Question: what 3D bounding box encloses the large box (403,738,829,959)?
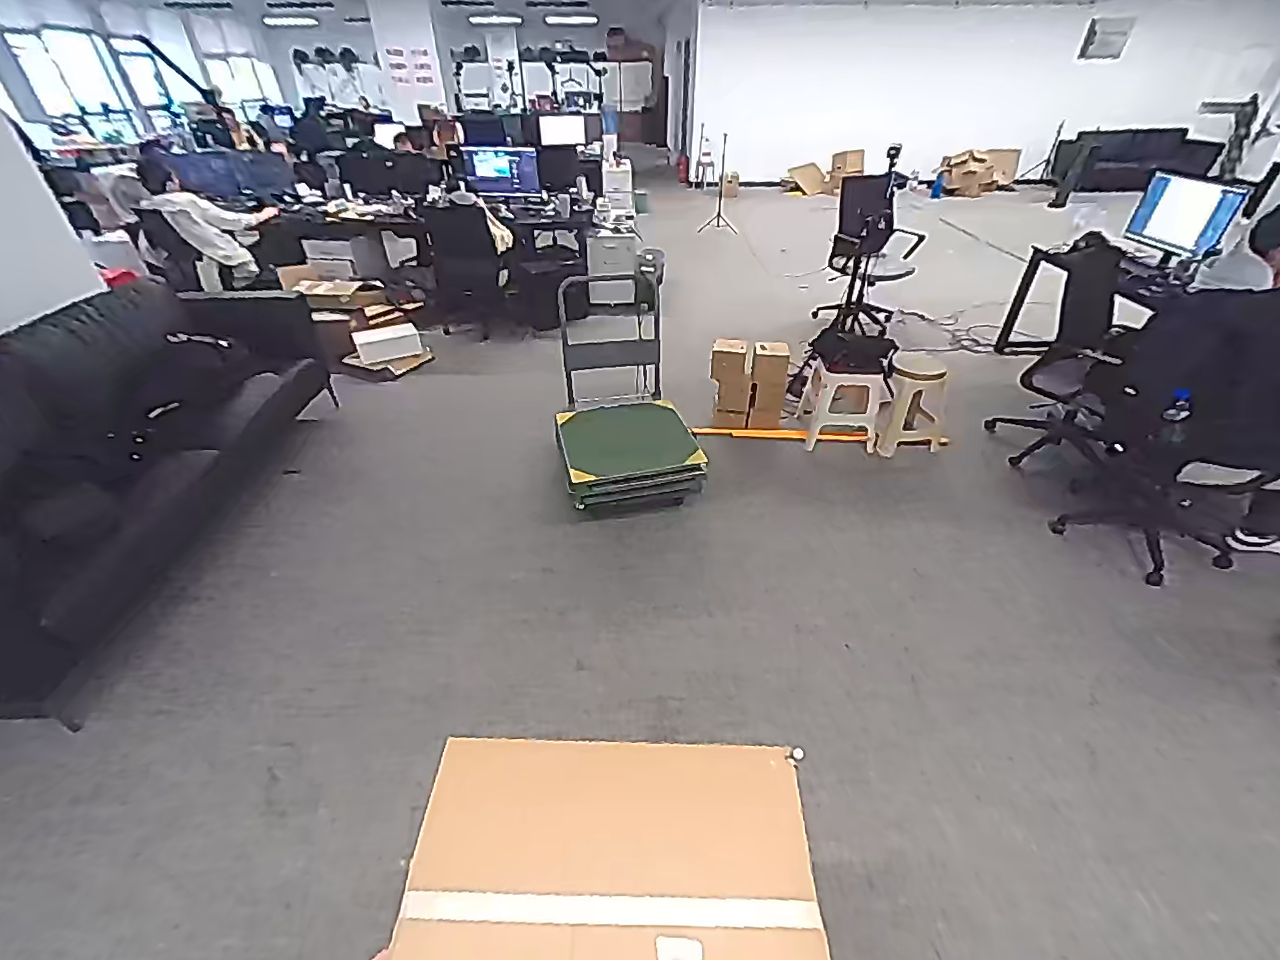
[{"bbox_3d":[-0.025,0.523,0.634,0.408,0.320,0.320,1,44,0],"label":"large box"}]
